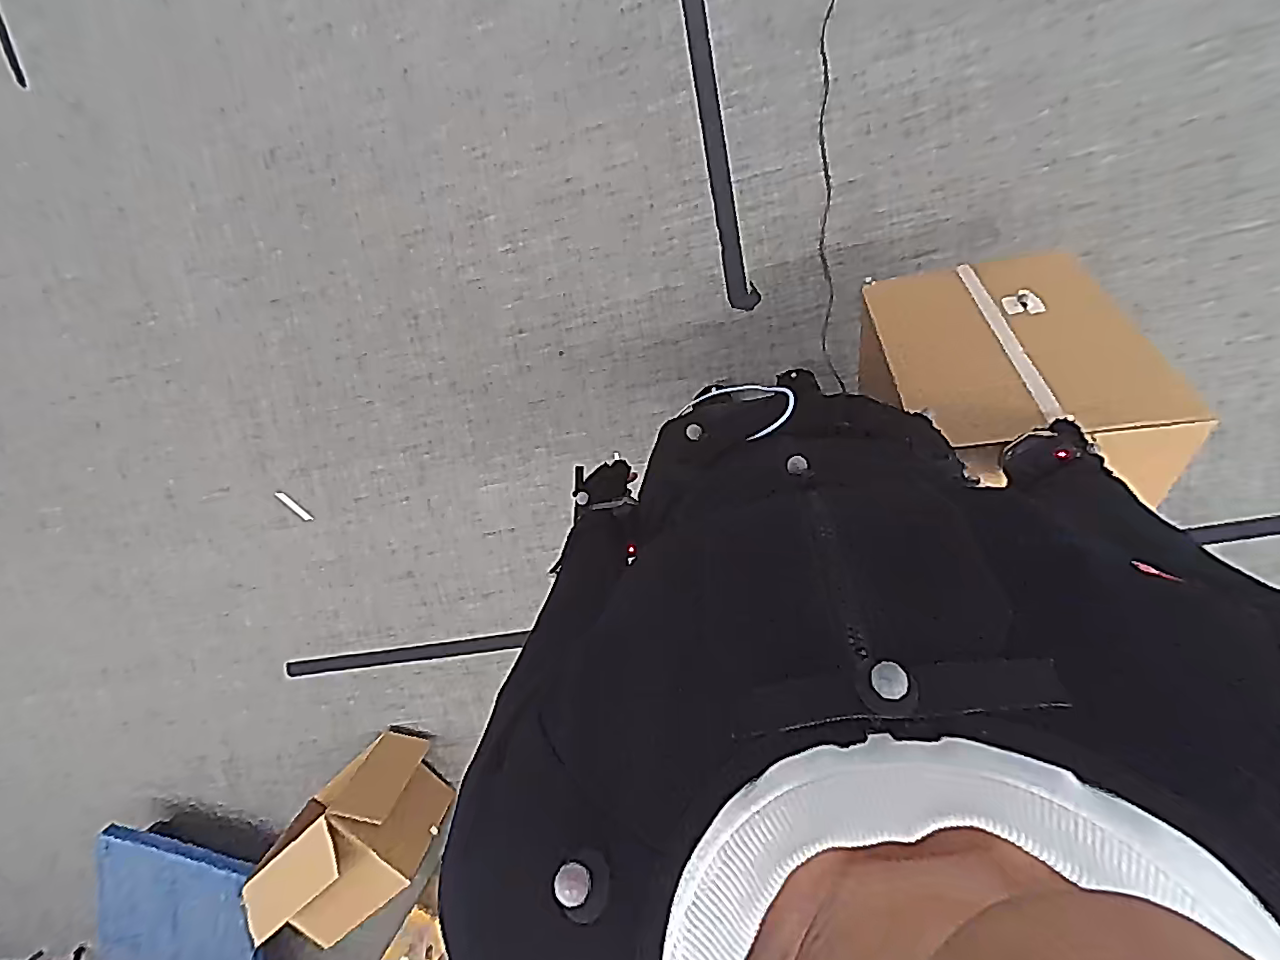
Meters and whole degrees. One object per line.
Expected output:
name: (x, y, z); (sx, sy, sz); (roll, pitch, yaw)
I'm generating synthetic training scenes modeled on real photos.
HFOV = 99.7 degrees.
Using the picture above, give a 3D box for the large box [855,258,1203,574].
large box: (0.559, -0.102, 0.897); (0.320, 0.408, 0.320); (-6, 137, 12)
